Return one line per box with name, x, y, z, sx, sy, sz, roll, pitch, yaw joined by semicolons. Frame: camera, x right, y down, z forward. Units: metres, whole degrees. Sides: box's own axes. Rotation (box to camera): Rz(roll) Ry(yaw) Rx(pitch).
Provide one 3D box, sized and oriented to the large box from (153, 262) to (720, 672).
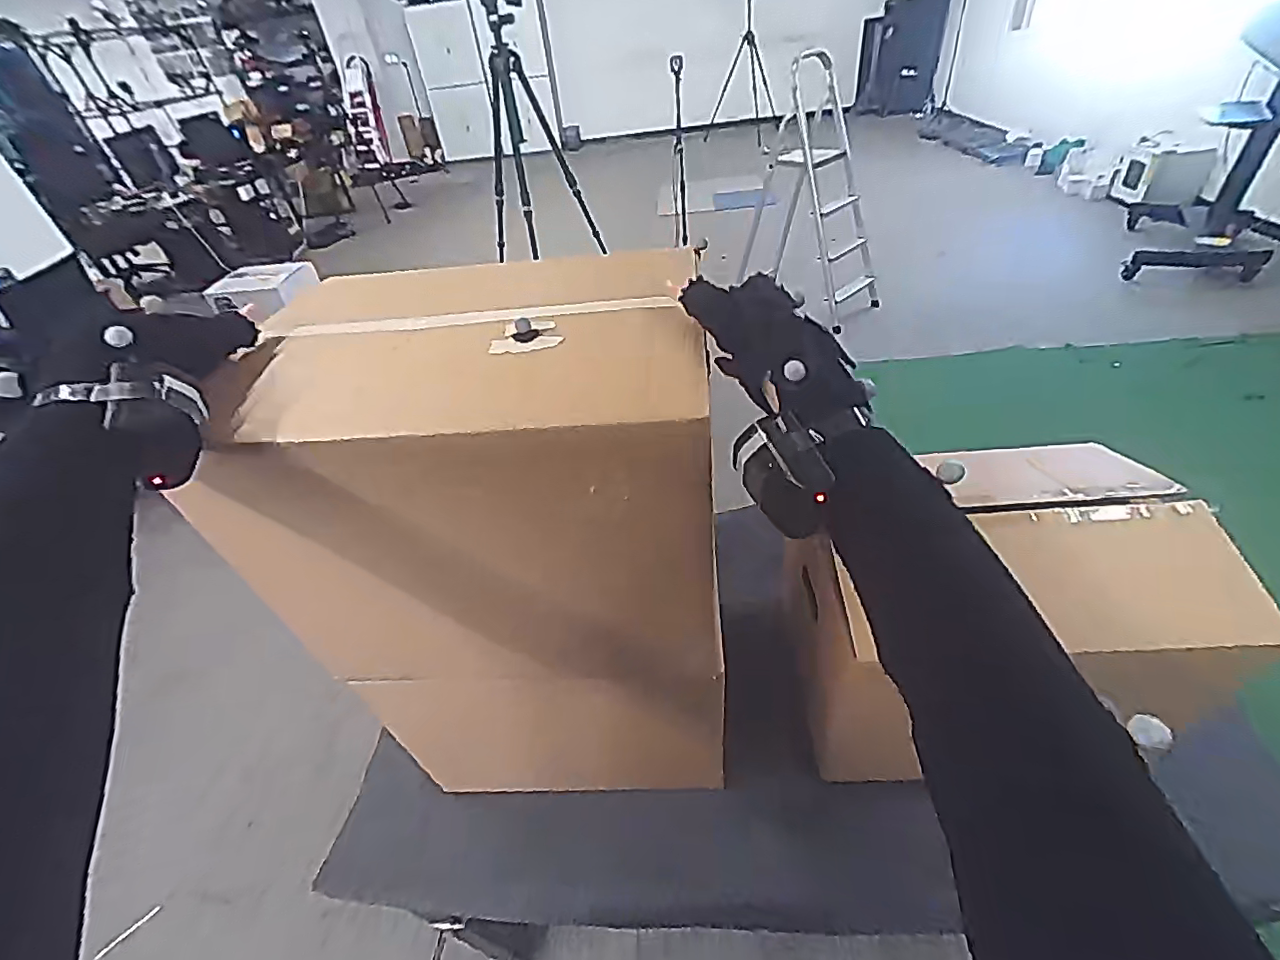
large box;-0.132;-0.014;0.573;0.408;0.320;0.320;-2;42;5
